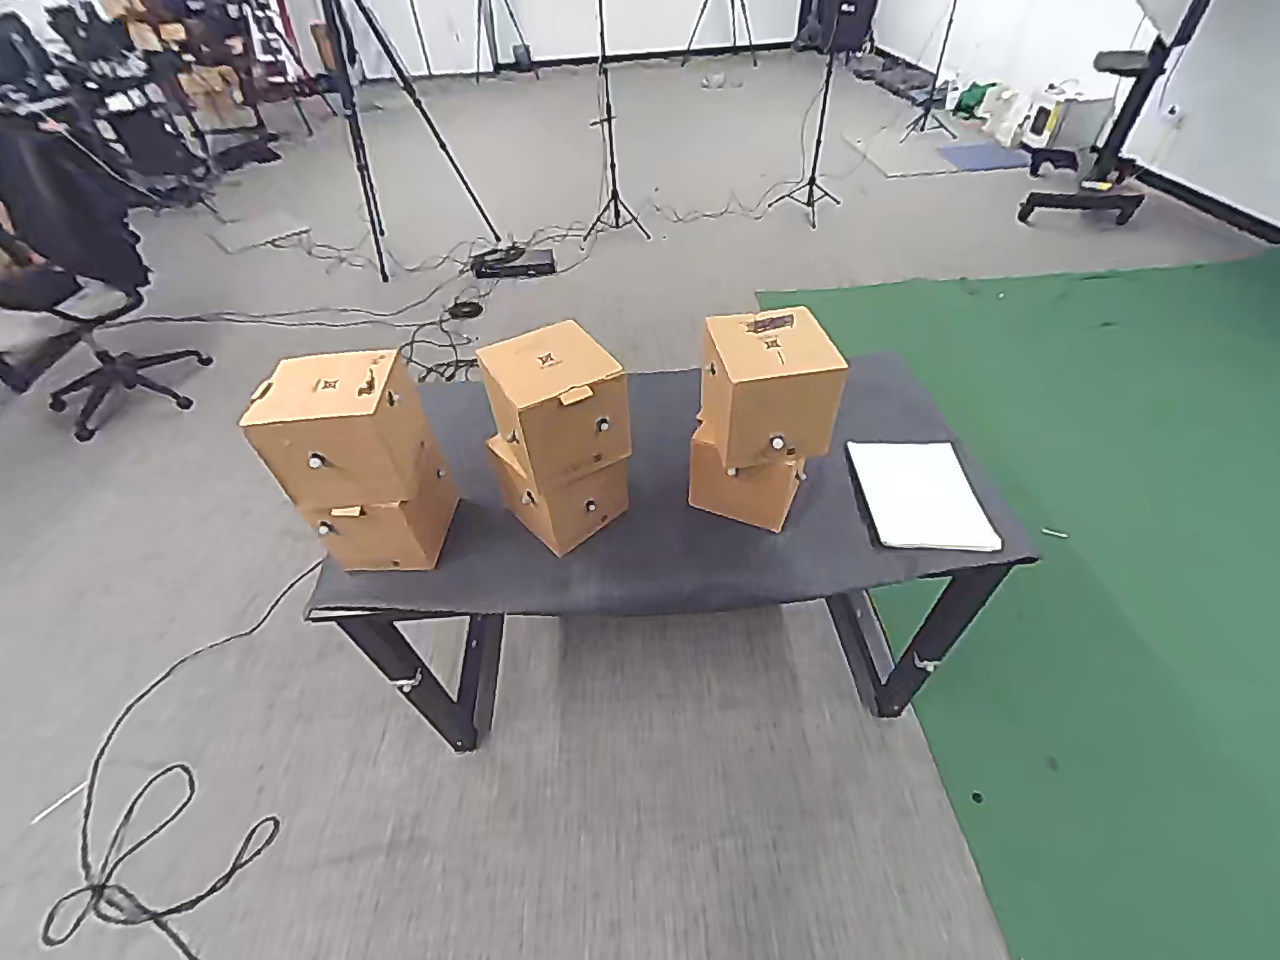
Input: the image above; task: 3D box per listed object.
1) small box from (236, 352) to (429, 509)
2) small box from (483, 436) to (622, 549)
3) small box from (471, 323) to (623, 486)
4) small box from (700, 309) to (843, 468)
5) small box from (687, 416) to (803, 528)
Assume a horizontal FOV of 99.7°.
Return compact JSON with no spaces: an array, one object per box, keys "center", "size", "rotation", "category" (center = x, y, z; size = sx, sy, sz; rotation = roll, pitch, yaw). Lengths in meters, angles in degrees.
[{"center":[-0.445,-0.072,0.817],"size":[0.179,0.176,0.168],"rotation":[-7,44,-3],"category":"small box"},{"center":[-0.146,-0.003,0.960],"size":[0.168,0.176,0.179],"rotation":[-35,53,-28],"category":"small box"},{"center":[-0.137,-0.112,0.839],"size":[0.168,0.176,0.179],"rotation":[-25,49,-21],"category":"small box"},{"center":[0.190,-0.142,0.844],"size":[0.168,0.176,0.179],"rotation":[-8,46,-3],"category":"small box"},{"center":[0.195,-0.038,0.973],"size":[0.179,0.176,0.168],"rotation":[17,49,20],"category":"small box"}]
